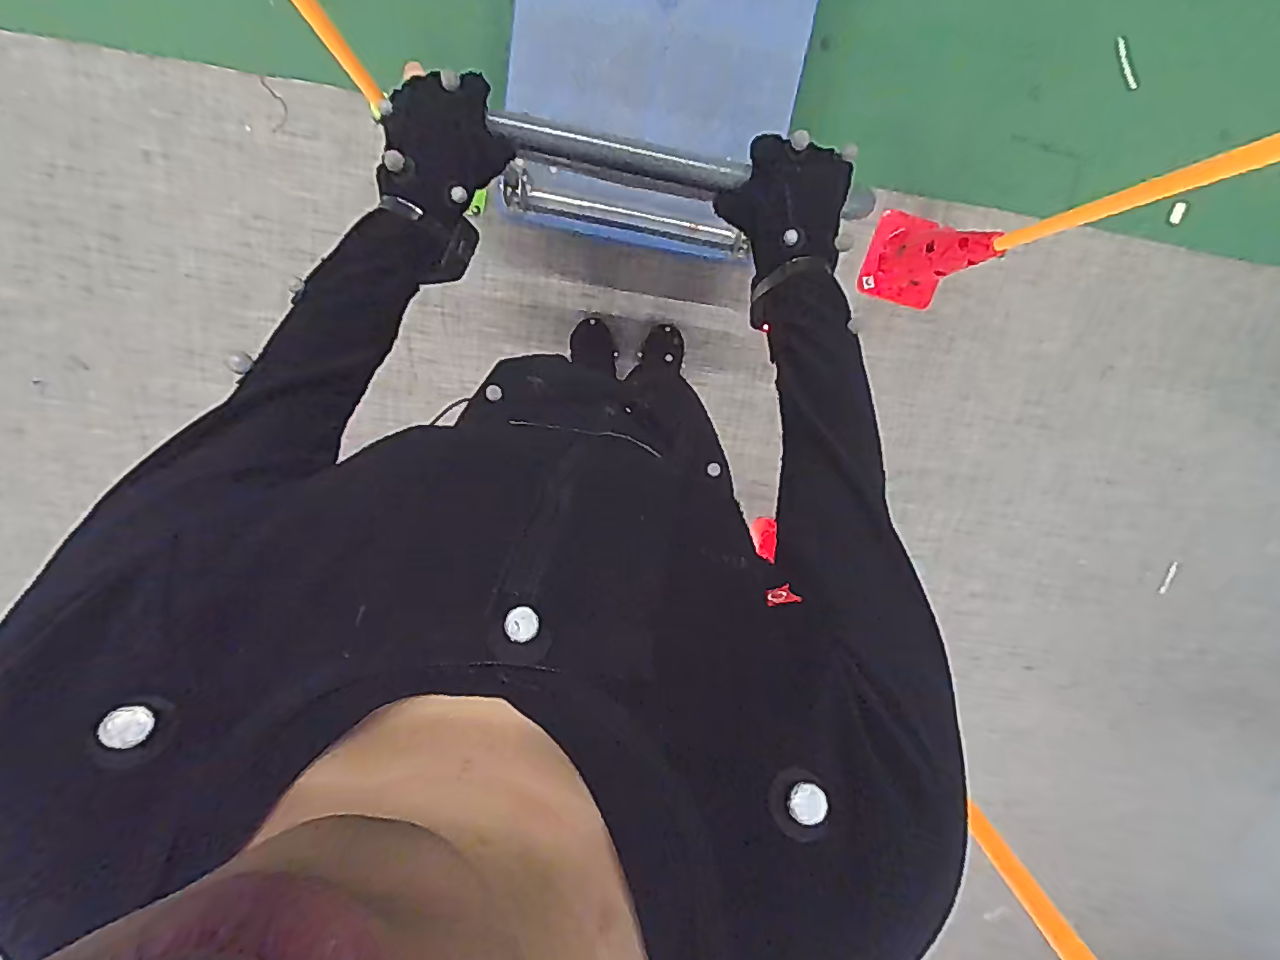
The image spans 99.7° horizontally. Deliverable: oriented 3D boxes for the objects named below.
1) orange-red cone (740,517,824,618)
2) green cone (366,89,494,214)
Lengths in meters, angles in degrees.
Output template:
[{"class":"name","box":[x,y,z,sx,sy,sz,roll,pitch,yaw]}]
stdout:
[{"class":"orange-red cone","box":[0.404,0.257,1.417,0.199,0.360,0.198,9,106,-3]},{"class":"green cone","box":[-0.447,-0.699,1.094,0.202,0.368,0.200,14,105,-5]}]
